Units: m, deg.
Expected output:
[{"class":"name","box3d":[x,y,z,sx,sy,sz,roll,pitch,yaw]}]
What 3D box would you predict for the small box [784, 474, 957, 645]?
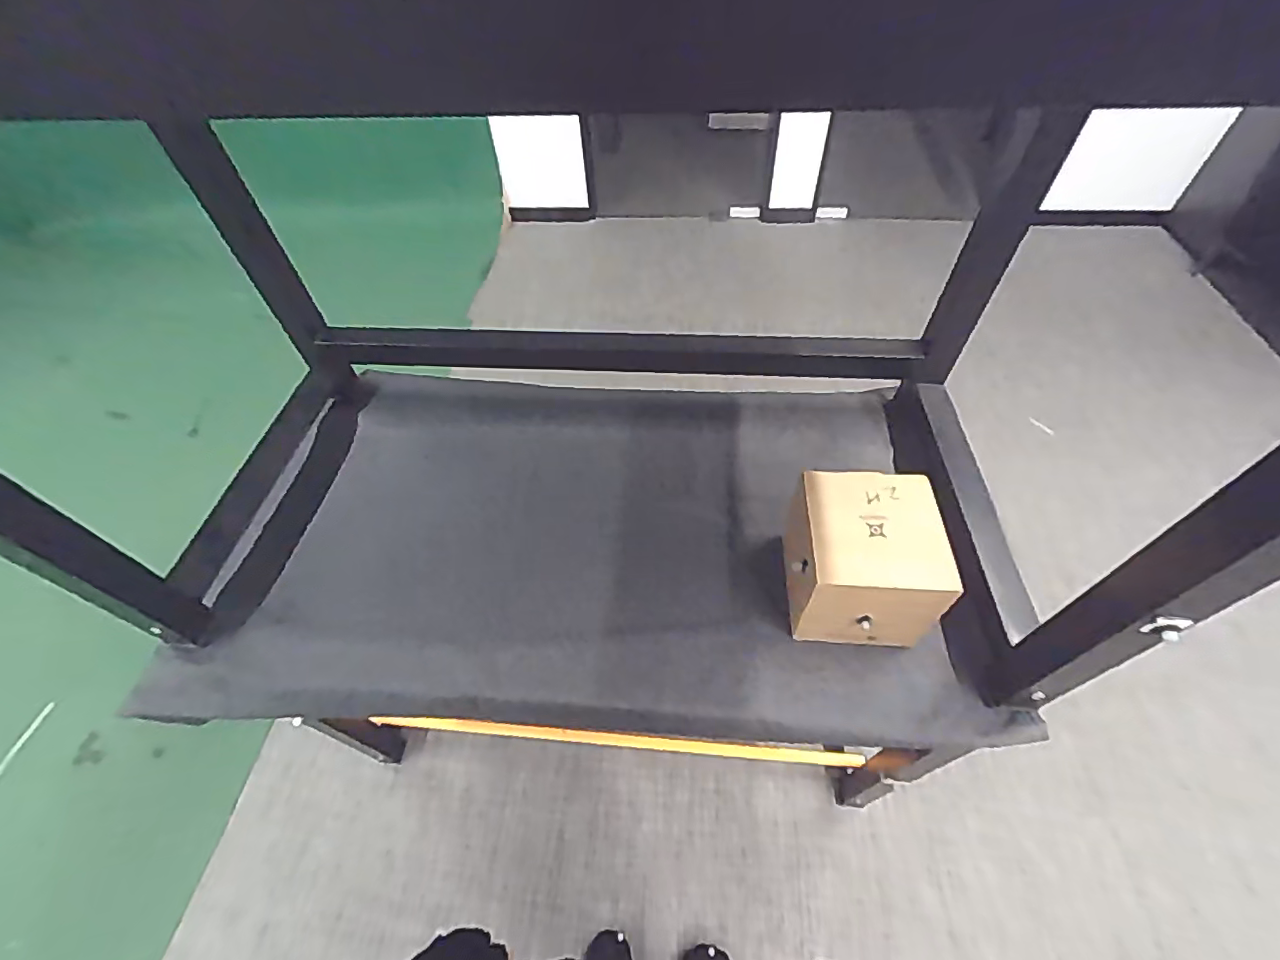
[{"class":"small box","box3d":[0.298,0.113,0.744,0.168,0.176,0.179,3,51,5]}]
